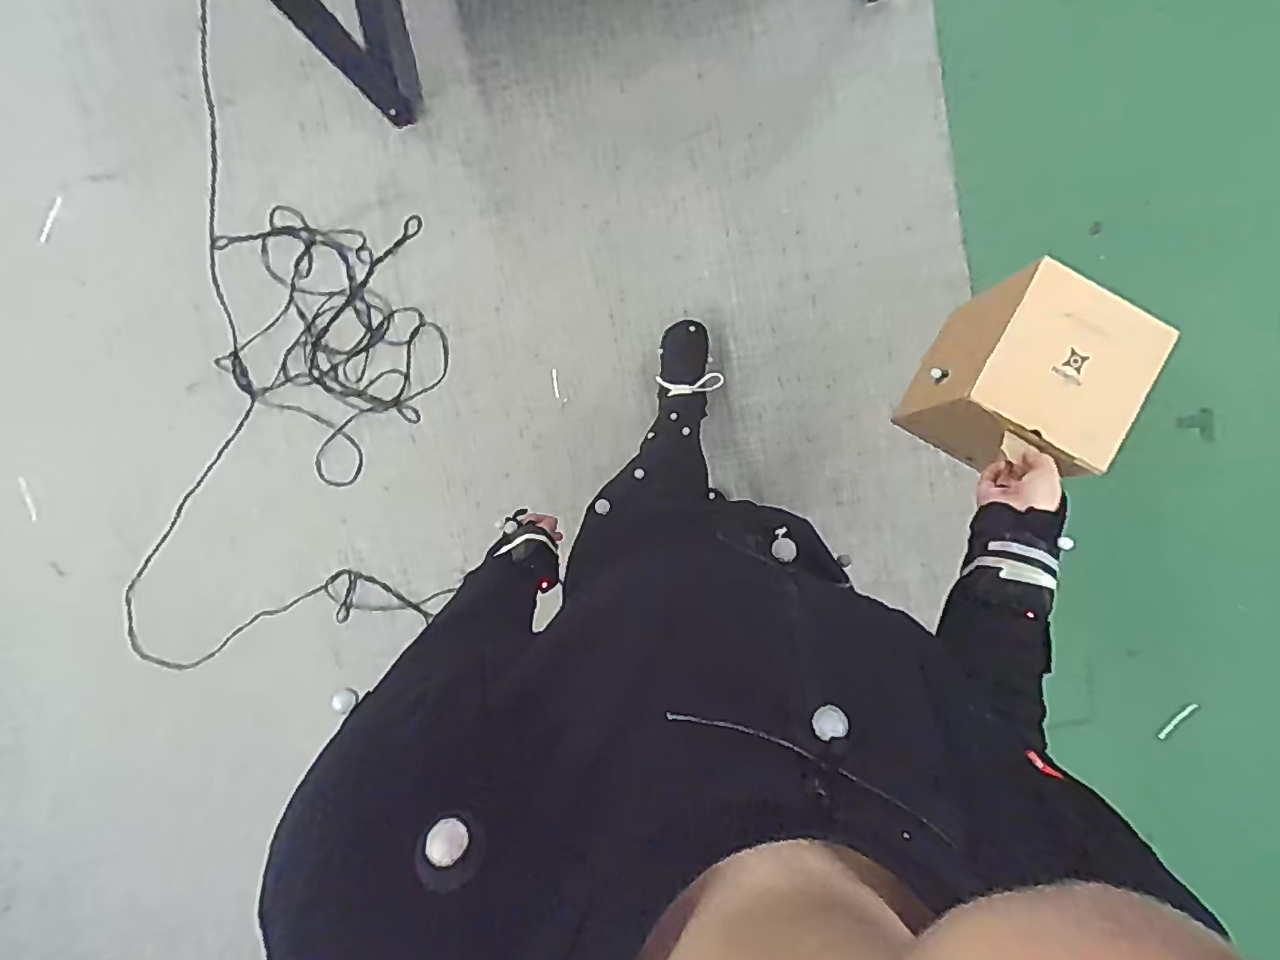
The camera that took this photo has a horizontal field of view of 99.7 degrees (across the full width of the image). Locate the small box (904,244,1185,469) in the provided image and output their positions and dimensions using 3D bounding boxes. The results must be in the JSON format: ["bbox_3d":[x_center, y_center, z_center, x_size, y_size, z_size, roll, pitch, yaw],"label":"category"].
[{"bbox_3d":[0.442,-0.124,0.626,0.168,0.176,0.179,29,87,-1],"label":"small box"}]
